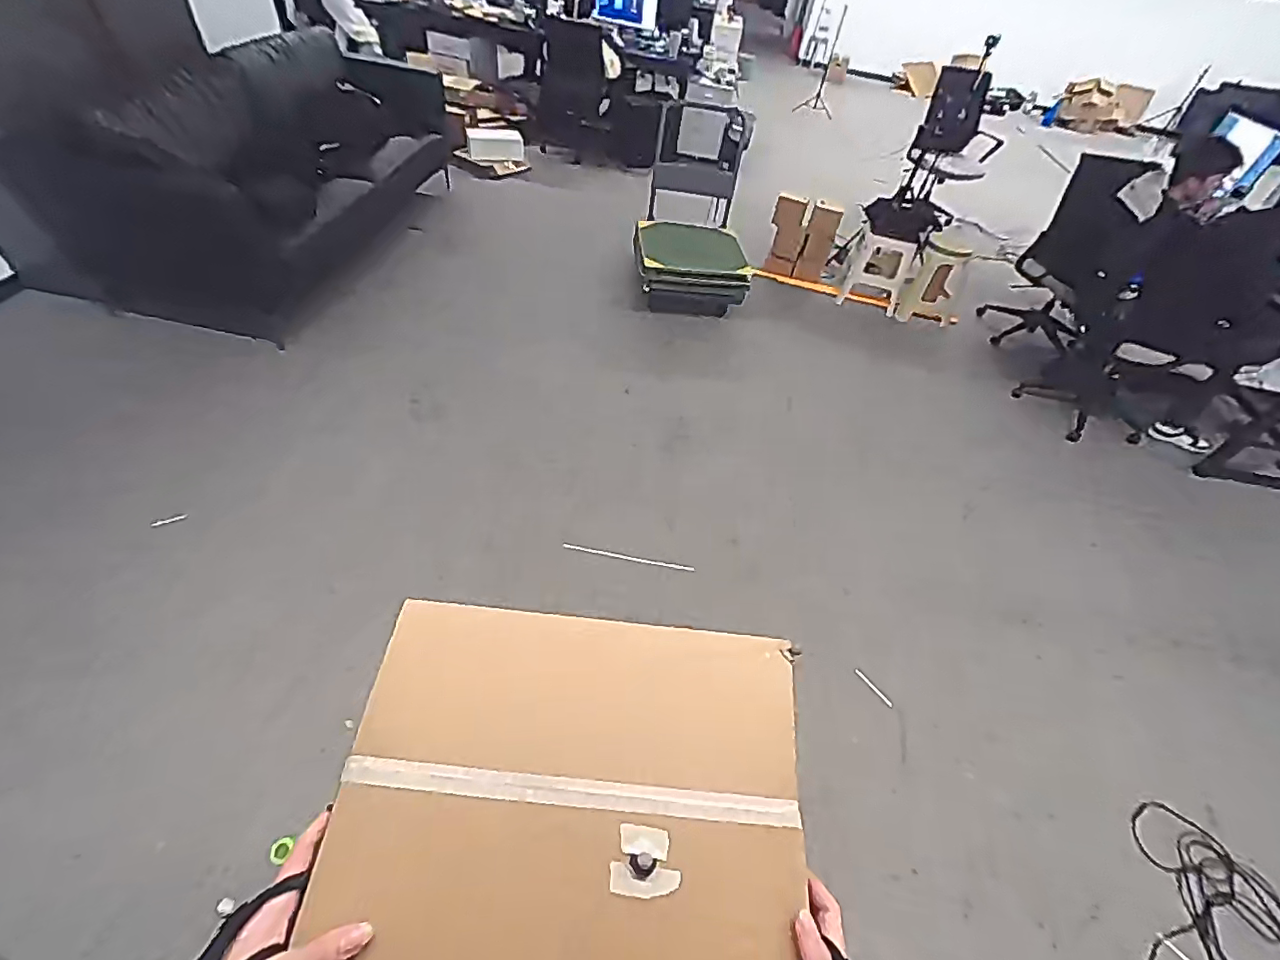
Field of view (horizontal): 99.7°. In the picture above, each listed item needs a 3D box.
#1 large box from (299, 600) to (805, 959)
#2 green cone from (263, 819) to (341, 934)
[{"bbox_3d":[-0.066,0.353,0.618,0.408,0.320,0.320,6,58,0],"label":"large box"},{"bbox_3d":[-0.691,0.807,1.122,0.200,0.368,0.202,16,48,5],"label":"green cone"}]
